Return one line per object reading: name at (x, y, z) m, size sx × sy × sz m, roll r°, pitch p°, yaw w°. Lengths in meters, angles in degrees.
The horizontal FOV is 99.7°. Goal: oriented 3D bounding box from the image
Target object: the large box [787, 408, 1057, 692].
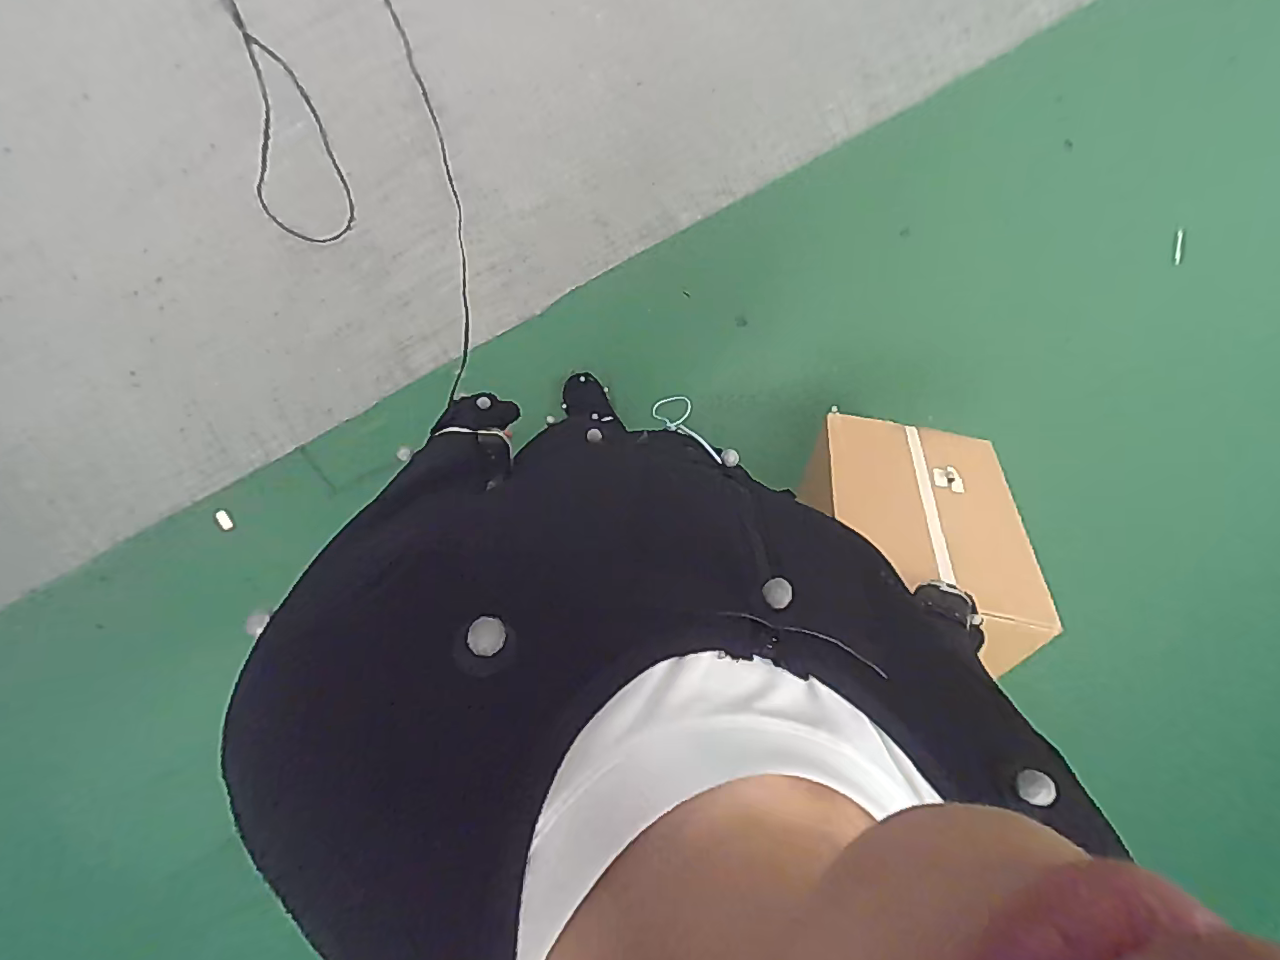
large box at (0.468, 0.126, 1.018) m, size 0.320 × 0.408 × 0.320 m, roll 11°, pitch 137°, yaw 4°
